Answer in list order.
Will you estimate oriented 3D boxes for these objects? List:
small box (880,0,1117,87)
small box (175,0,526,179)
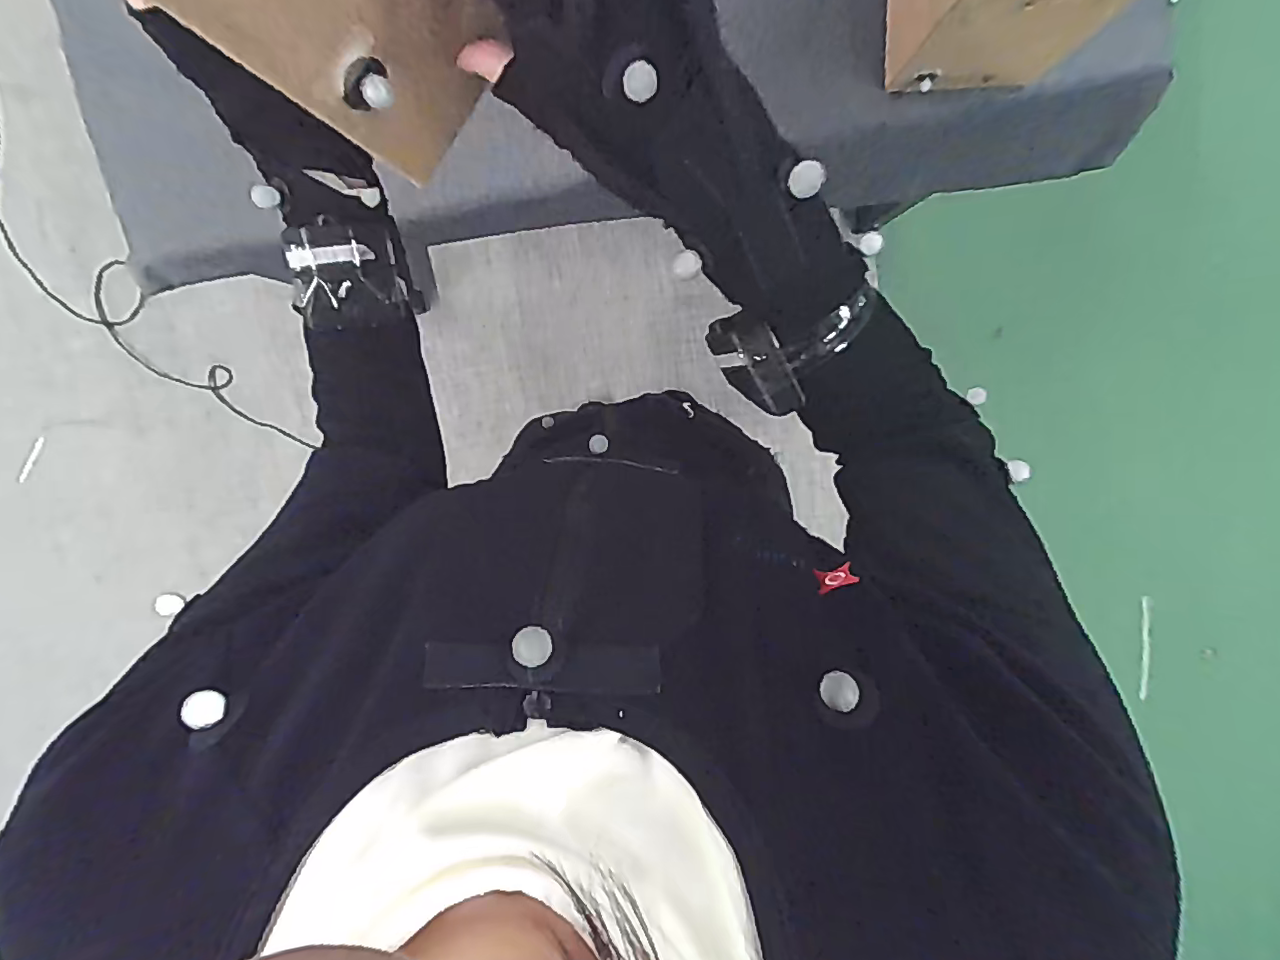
[{"bbox_3d":[0.350,-0.514,0.524,0.168,0.176,0.179,-2,99,0],"label":"small box"},{"bbox_3d":[-0.141,-0.268,0.201,0.179,0.168,0.176,42,102,3],"label":"small box"}]
